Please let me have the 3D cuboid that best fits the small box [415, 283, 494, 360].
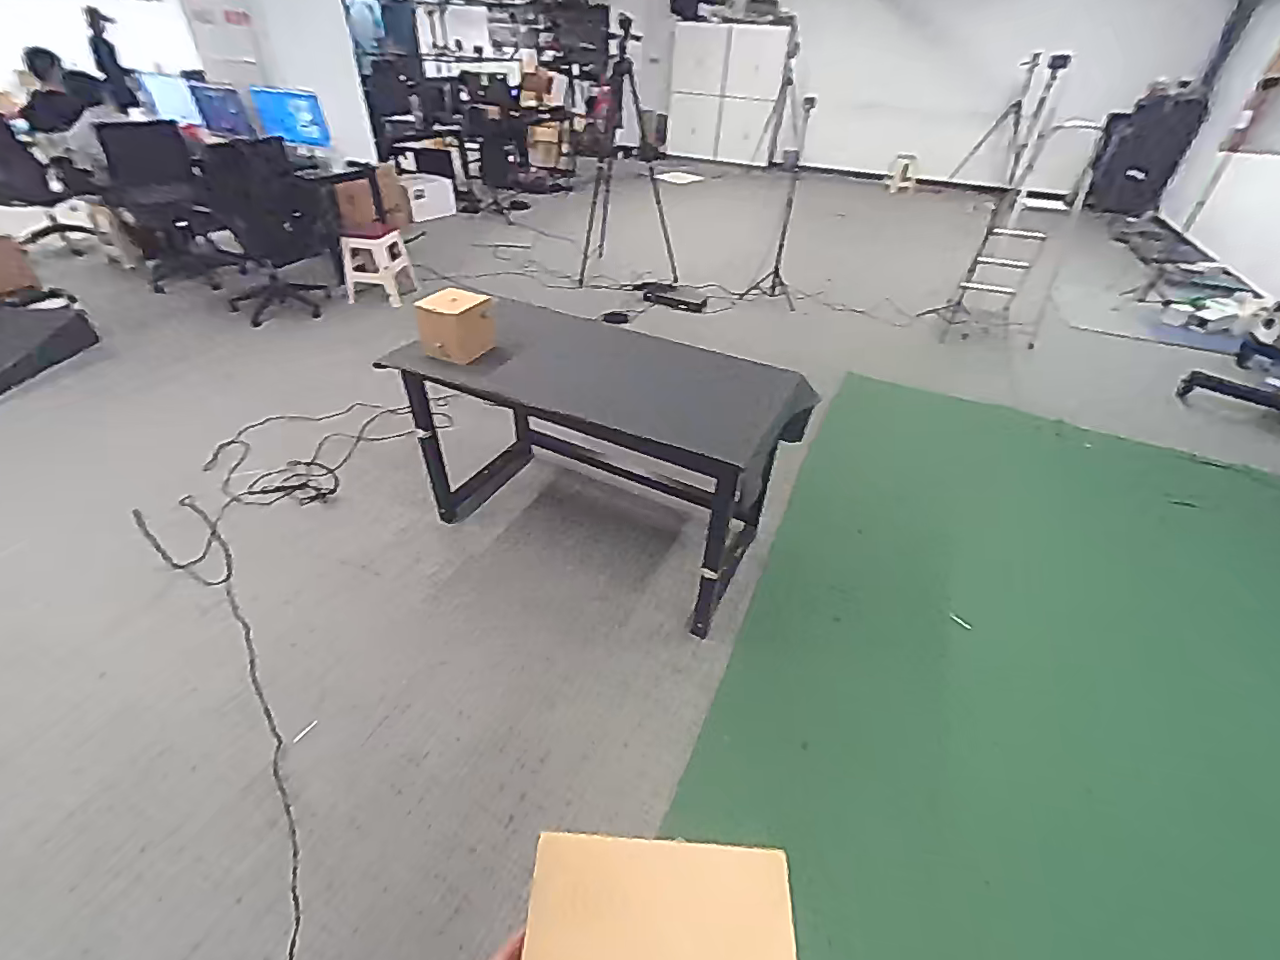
[{"bbox_3d":[-0.583,-0.509,1.731,0.168,0.176,0.179,19,41,18],"label":"small box"}]
